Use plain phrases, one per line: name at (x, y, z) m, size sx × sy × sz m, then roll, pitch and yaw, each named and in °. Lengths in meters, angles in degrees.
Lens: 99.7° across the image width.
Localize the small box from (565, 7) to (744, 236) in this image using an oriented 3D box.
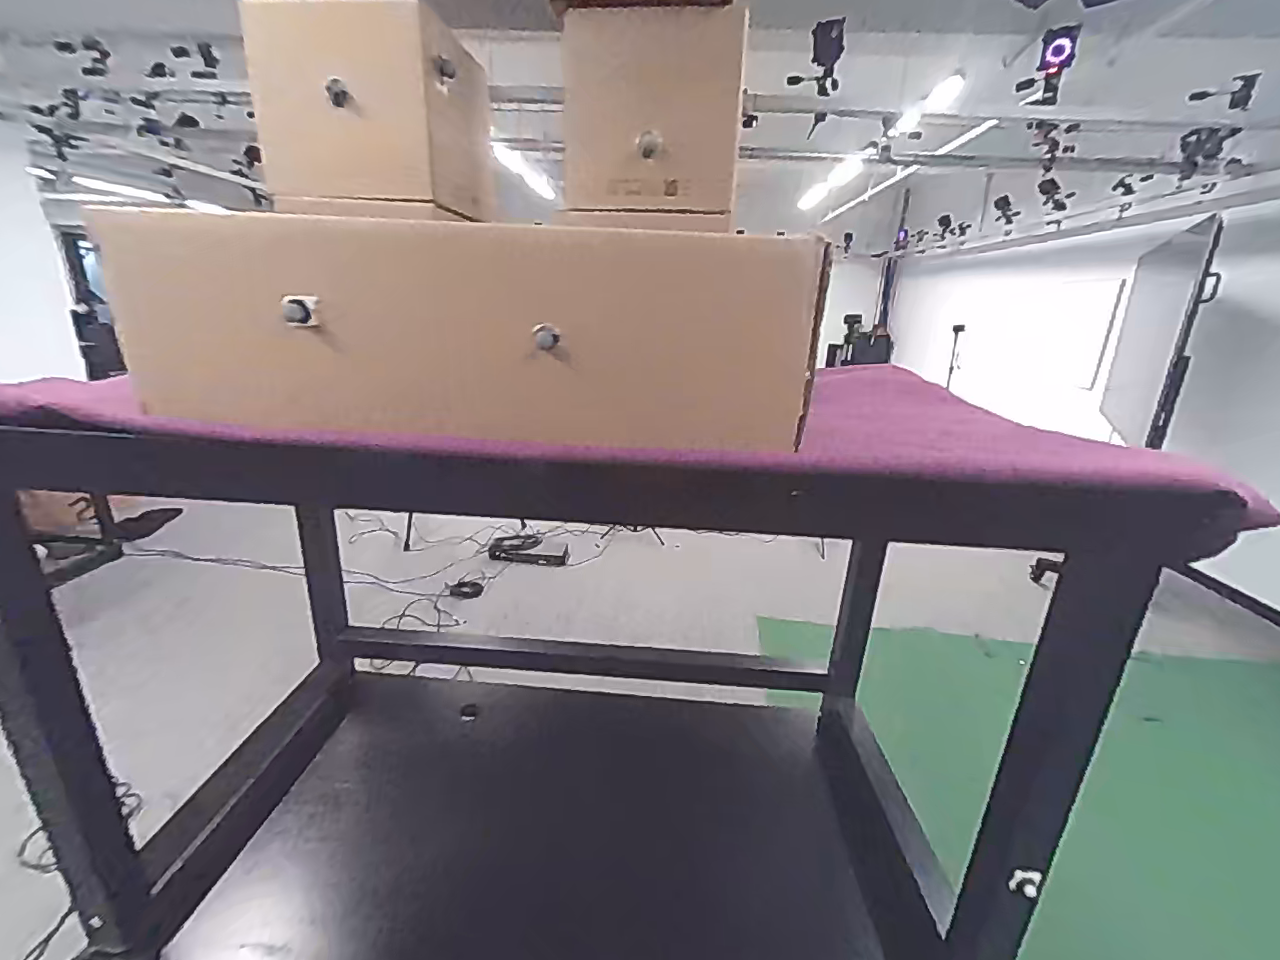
small box at (0.018, -0.364, 0.583) m, size 0.168 × 0.176 × 0.179 m, roll 3°, pitch 18°, yaw 5°

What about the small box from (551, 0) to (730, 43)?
small box at (0.009, -0.518, 0.531) m, size 0.168 × 0.176 × 0.179 m, roll 4°, pitch 18°, yaw 6°
